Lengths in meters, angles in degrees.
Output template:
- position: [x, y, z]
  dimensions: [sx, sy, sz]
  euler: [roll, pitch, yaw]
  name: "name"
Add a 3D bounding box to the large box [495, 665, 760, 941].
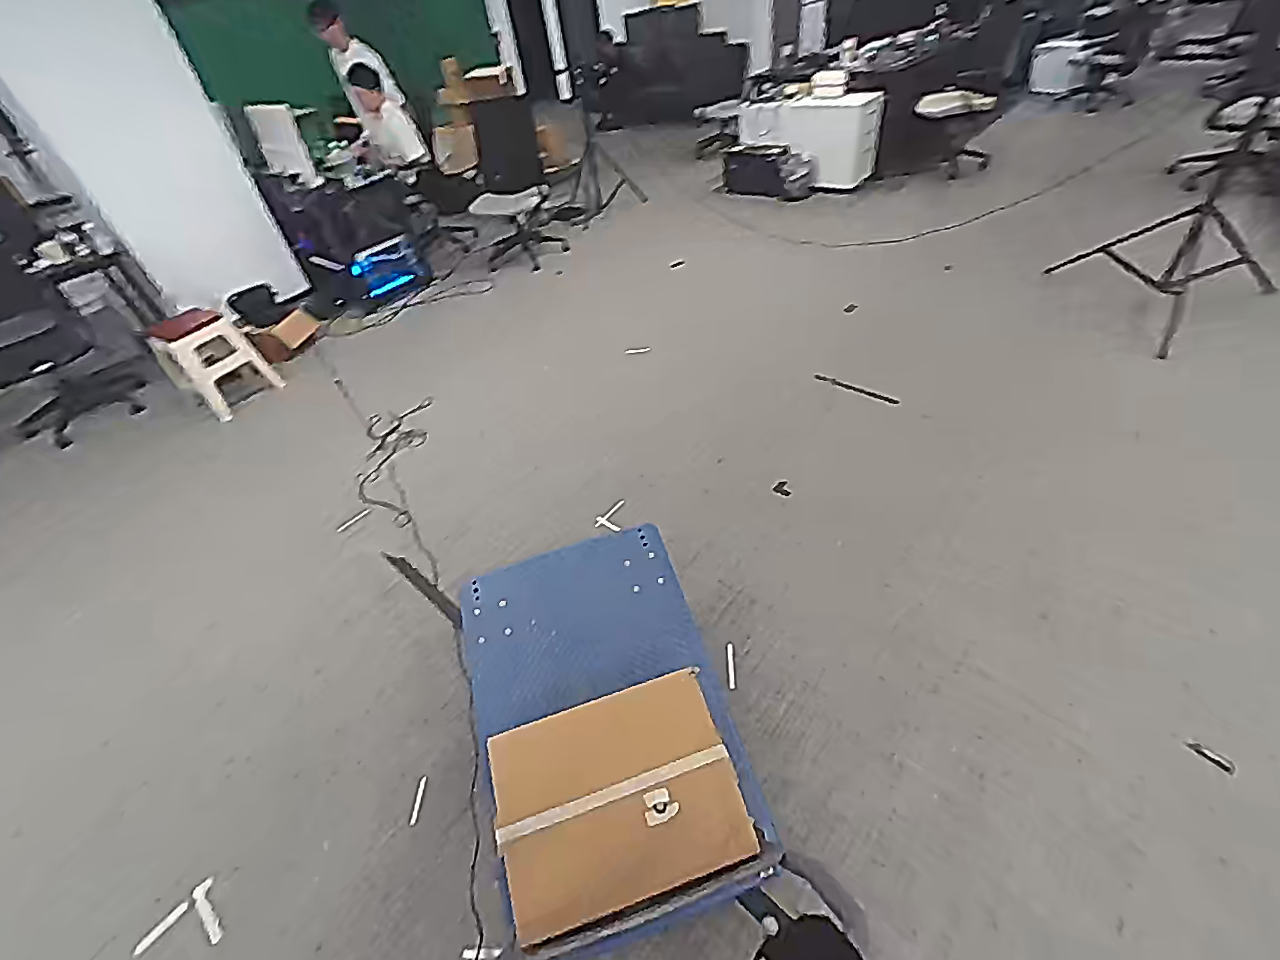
- position: [-0.028, 0.624, 1.070]
  dimensions: [0.408, 0.320, 0.320]
  euler: [-17, 57, -8]
  name: "large box"
